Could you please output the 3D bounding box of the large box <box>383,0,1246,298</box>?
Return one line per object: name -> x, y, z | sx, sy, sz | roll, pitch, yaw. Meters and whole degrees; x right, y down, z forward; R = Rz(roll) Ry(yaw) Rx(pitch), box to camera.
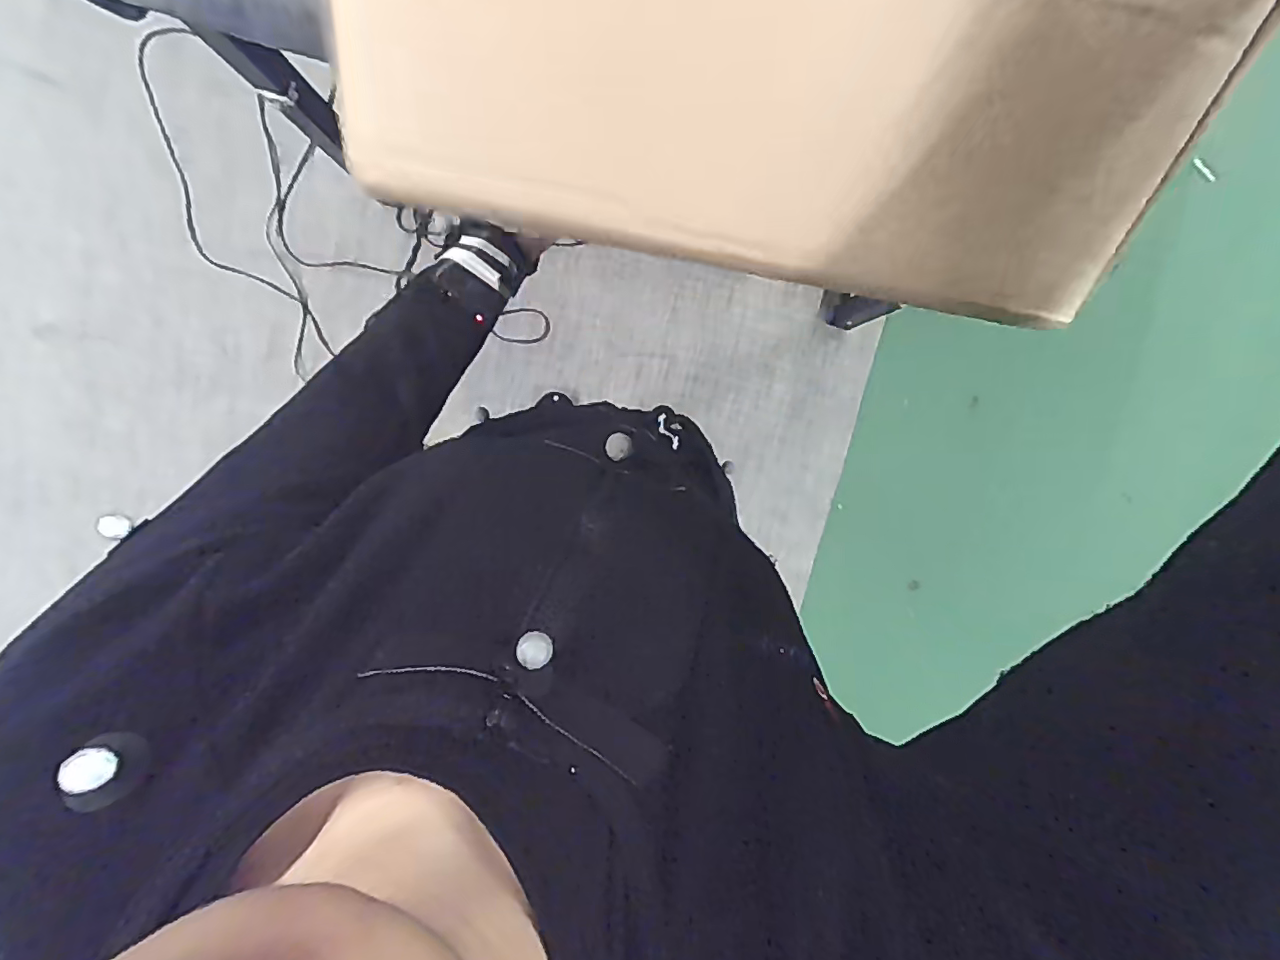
large box -> 0.064, -0.336, 0.307 | 0.320, 0.408, 0.320 | 7, 125, -7
